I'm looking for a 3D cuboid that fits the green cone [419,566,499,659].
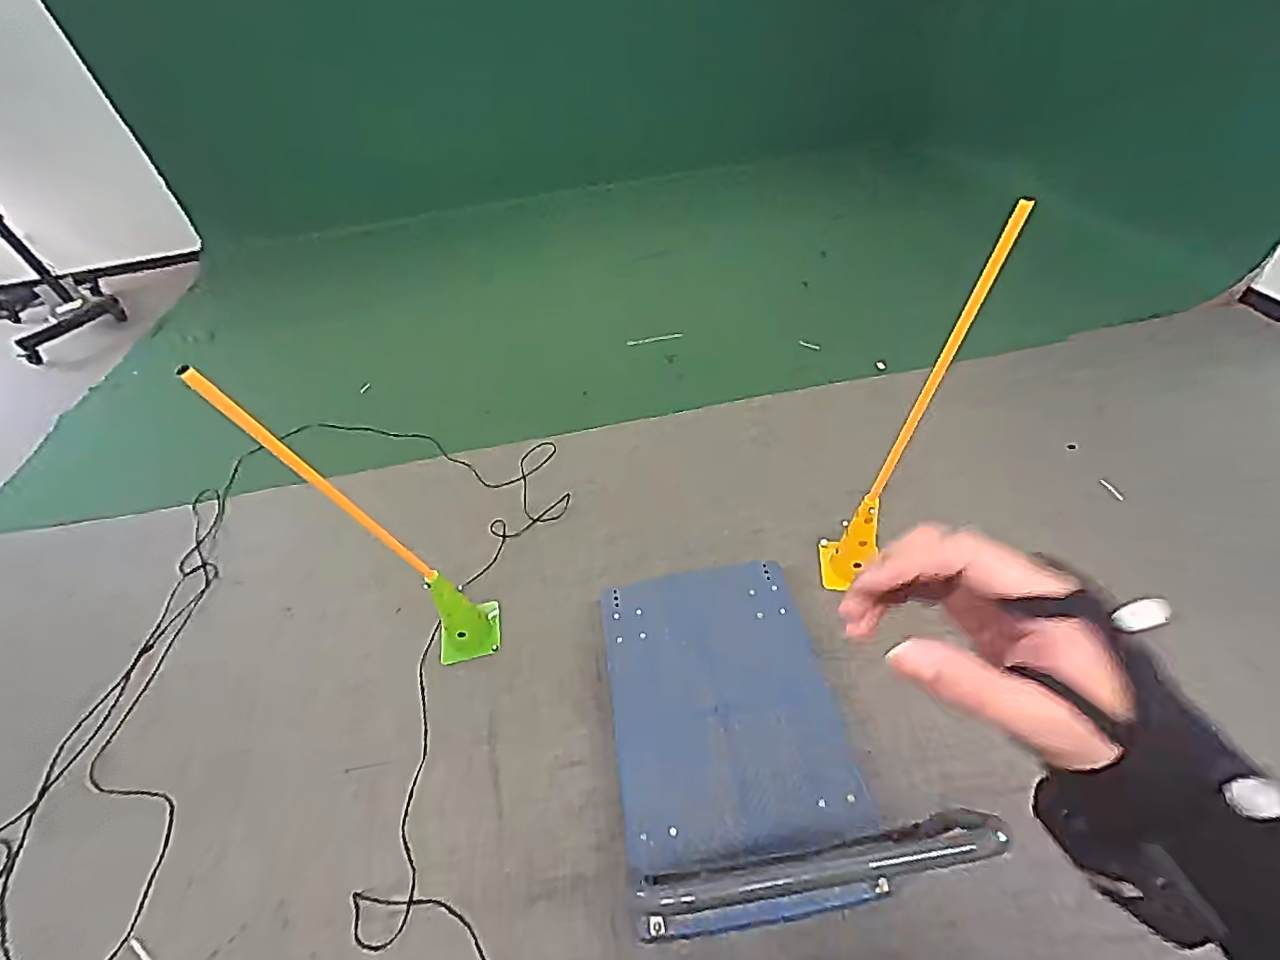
[{"bbox_3d":[-0.605,0.387,1.726,0.202,0.368,0.200,-14,47,-3],"label":"green cone"}]
